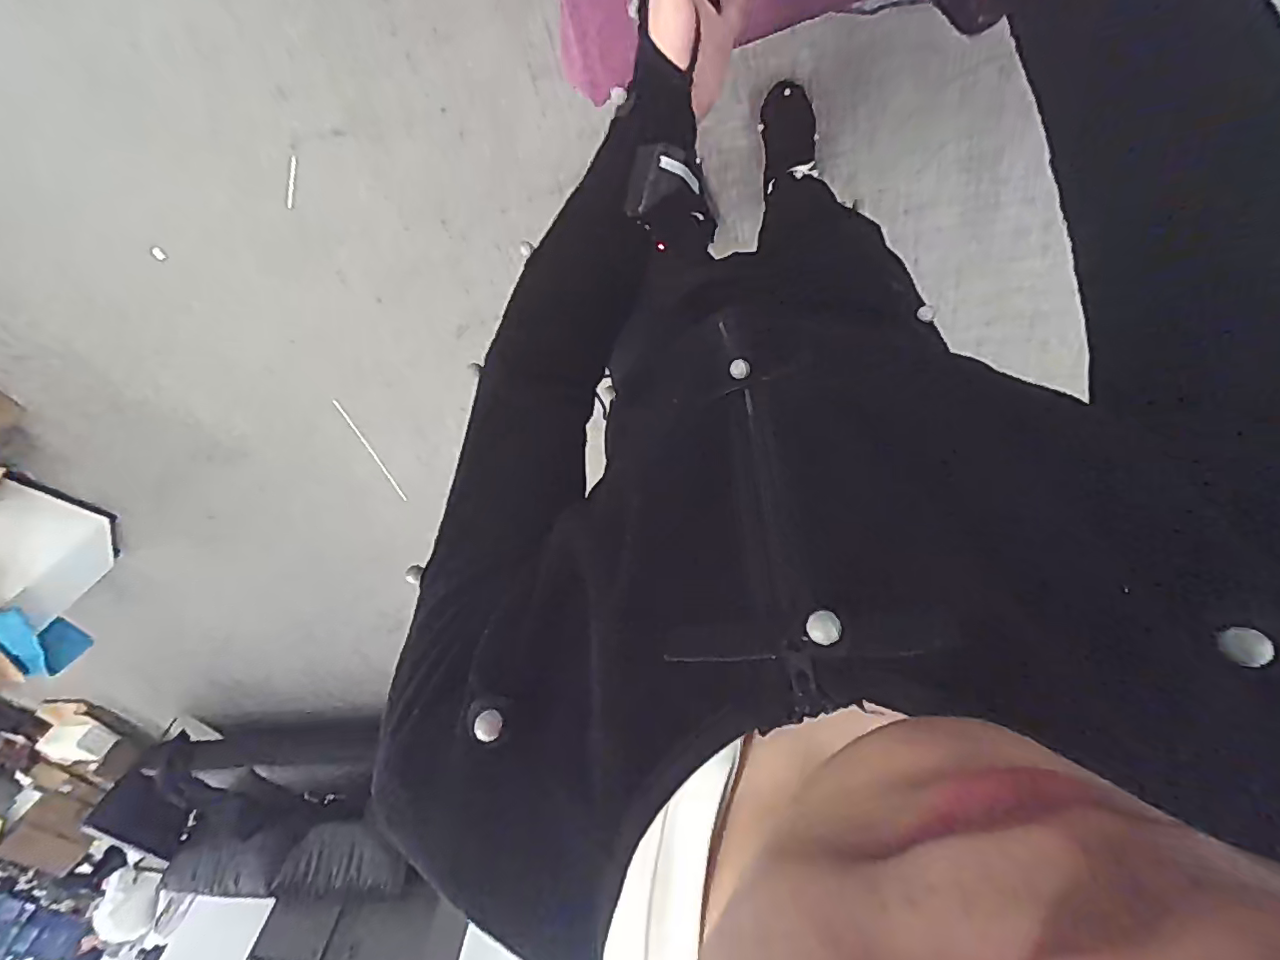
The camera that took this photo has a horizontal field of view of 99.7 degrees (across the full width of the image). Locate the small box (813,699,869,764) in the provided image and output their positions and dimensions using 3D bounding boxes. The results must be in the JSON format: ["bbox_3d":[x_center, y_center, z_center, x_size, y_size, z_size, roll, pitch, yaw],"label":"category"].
[{"bbox_3d":[0.741,0.933,2.010,0.168,0.176,0.179,-5,127,10],"label":"small box"}]

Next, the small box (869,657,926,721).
[{"bbox_3d":[0.982,0.802,2.073,0.168,0.176,0.179,-6,128,14],"label":"small box"}]
